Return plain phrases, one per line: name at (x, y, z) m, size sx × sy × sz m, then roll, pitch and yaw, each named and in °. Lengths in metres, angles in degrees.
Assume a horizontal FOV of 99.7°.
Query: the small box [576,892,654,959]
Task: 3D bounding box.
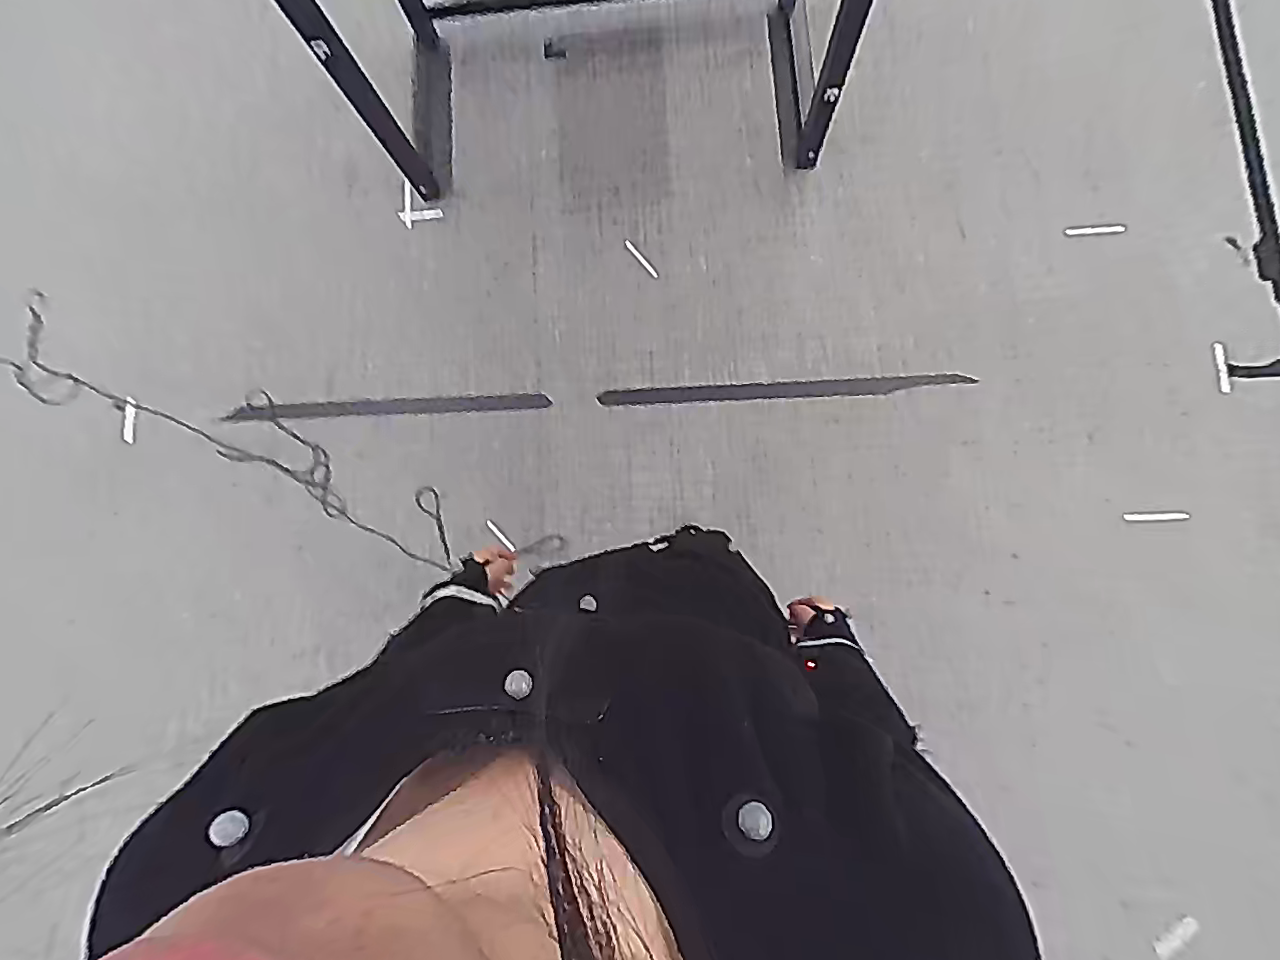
small box at (-0.055, 1.125, 1.296) m, size 0.168 × 0.176 × 0.179 m, roll -5°, pitch 84°, yaw 4°
